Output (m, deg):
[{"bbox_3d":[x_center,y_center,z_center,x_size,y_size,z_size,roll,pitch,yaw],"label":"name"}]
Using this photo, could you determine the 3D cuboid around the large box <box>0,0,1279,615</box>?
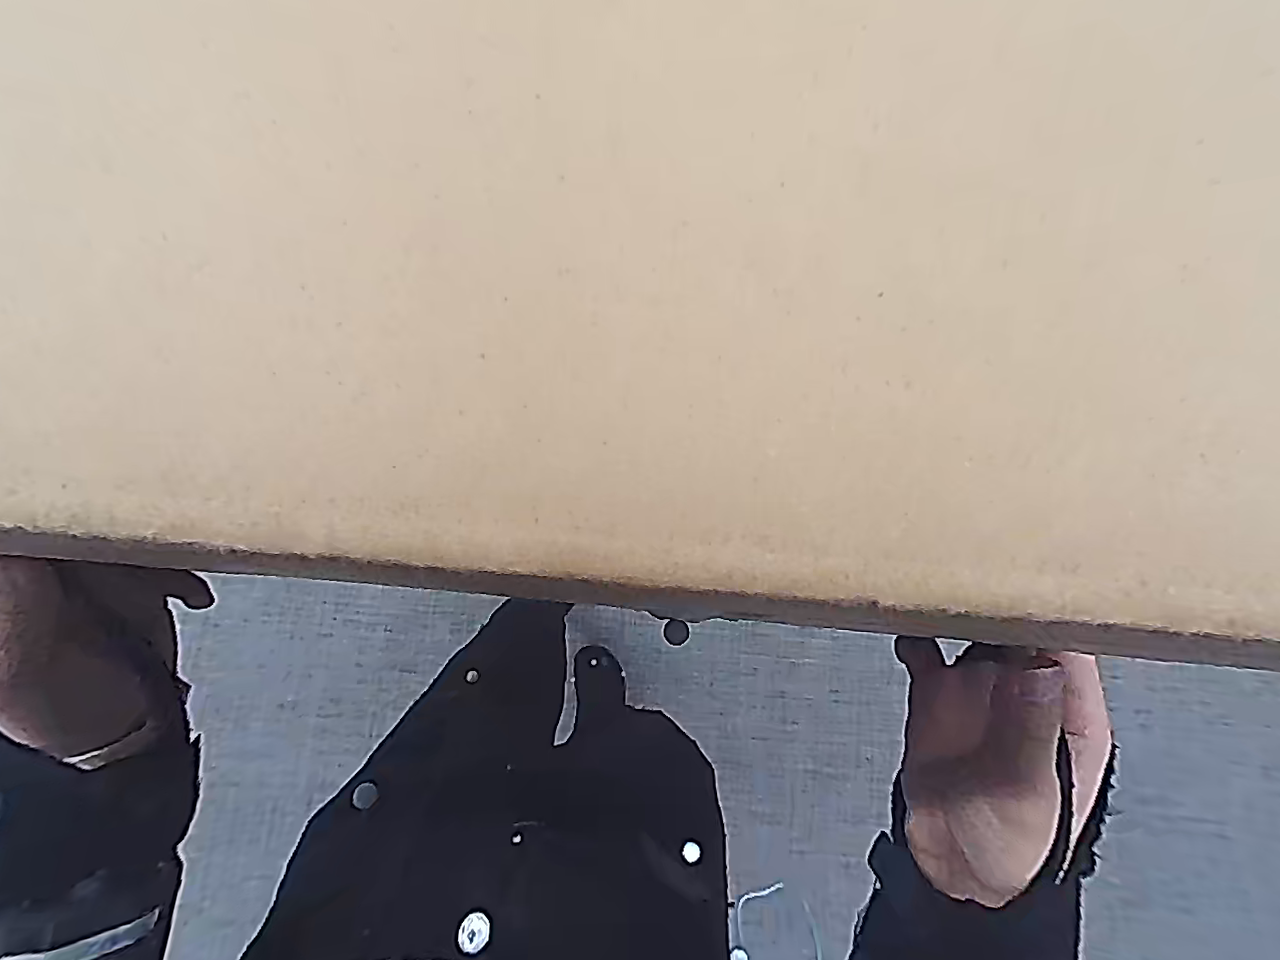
[{"bbox_3d":[-0.034,-0.116,0.256,0.408,0.320,0.320,5,77,0],"label":"large box"}]
